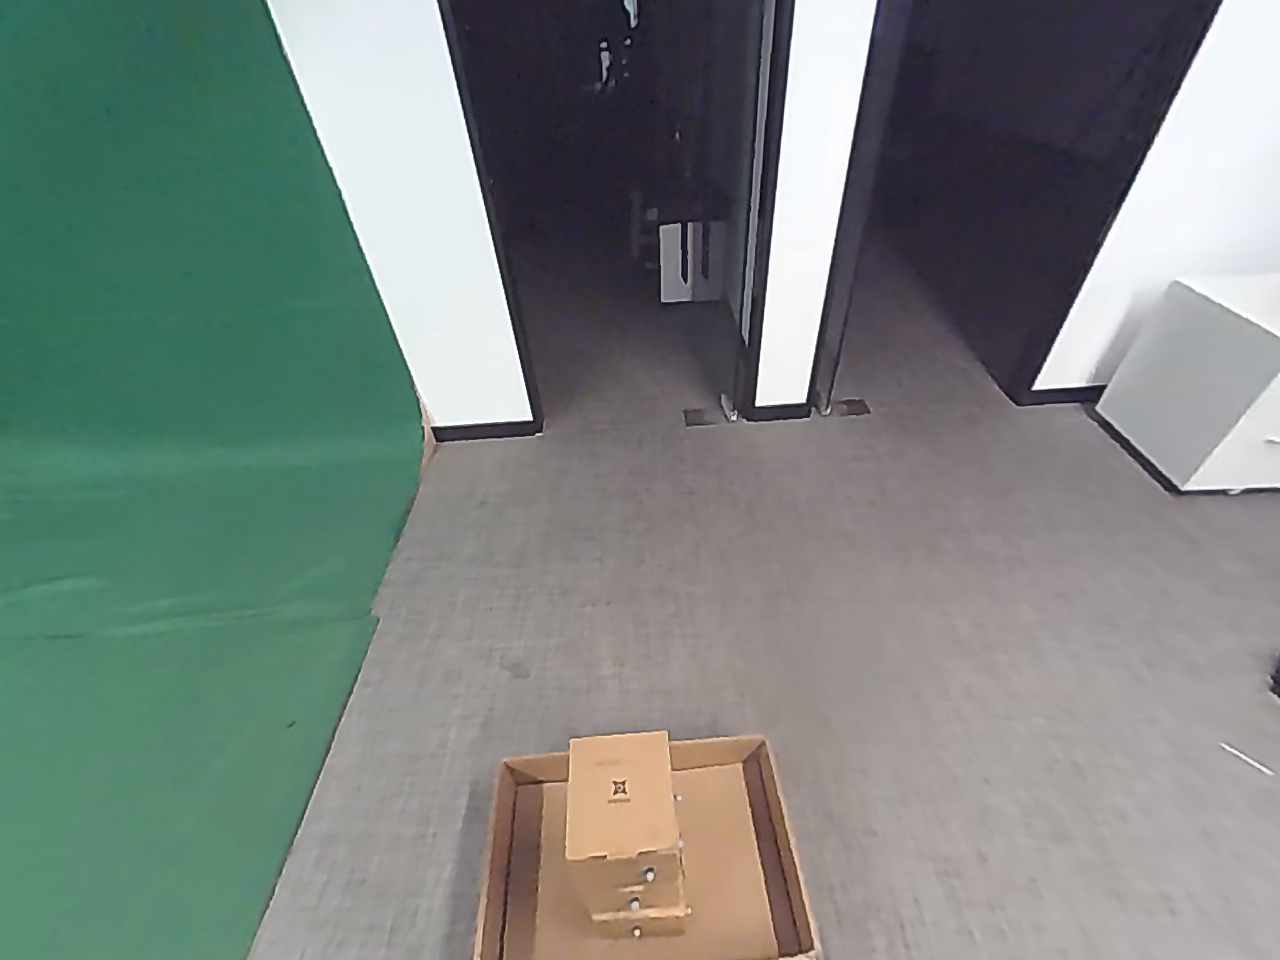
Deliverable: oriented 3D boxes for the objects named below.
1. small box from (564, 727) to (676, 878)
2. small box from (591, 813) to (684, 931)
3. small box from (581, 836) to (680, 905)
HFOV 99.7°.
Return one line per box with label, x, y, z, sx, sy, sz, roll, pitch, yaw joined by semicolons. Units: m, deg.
small box;-0.030;0.541;0.902;0.168;0.176;0.179;-4;40;-1
small box;-0.001;0.807;1.115;0.179;0.176;0.168;-4;40;2
small box;-0.019;0.676;1.023;0.168;0.176;0.179;-7;40;-1
